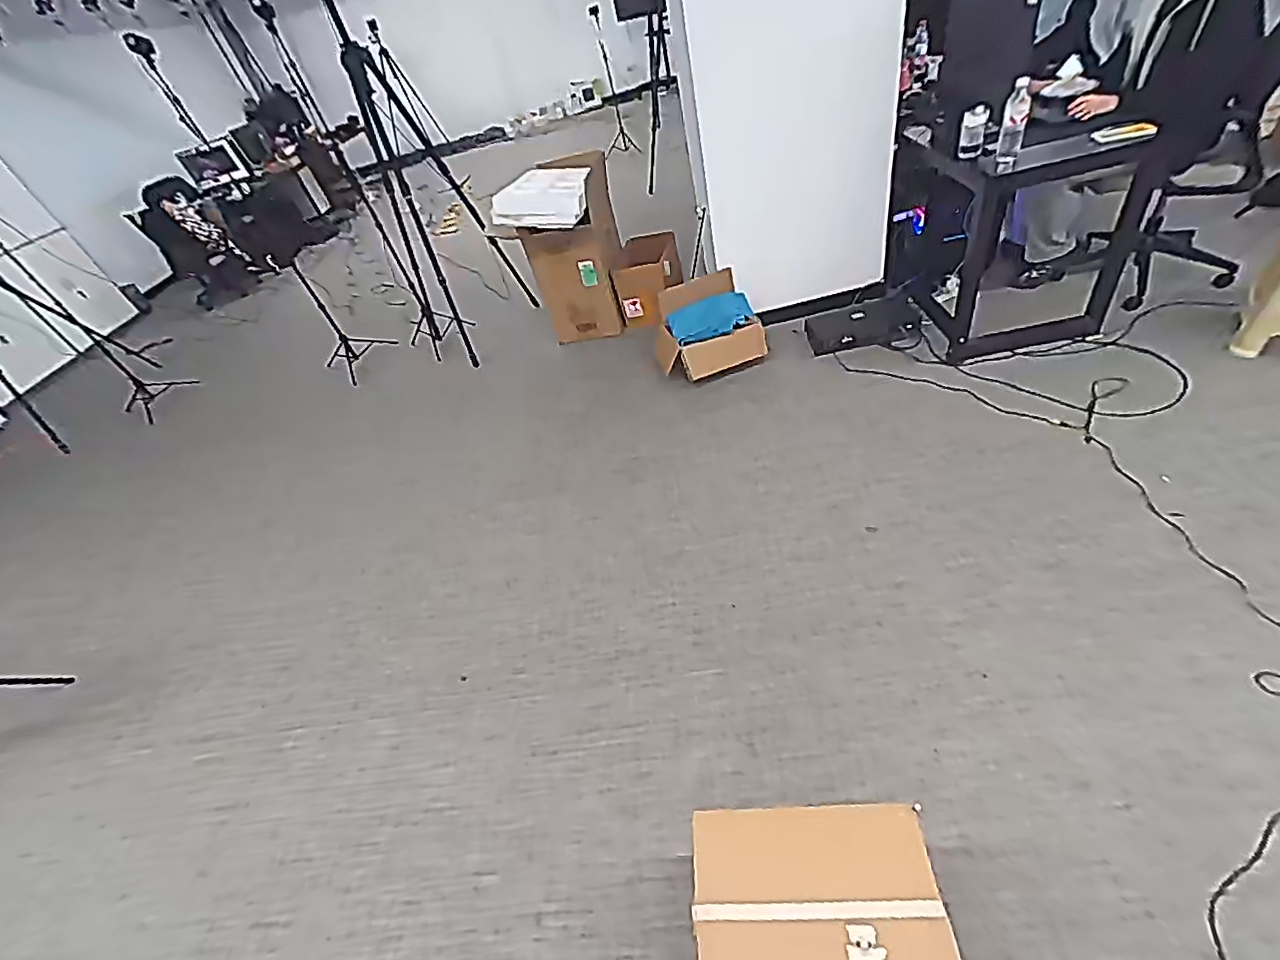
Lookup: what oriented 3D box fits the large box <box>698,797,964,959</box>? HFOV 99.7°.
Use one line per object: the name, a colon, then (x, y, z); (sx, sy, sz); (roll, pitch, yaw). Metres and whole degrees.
large box: (0.334, 0.821, 1.006); (0.408, 0.320, 0.320); (-8, 43, 10)
